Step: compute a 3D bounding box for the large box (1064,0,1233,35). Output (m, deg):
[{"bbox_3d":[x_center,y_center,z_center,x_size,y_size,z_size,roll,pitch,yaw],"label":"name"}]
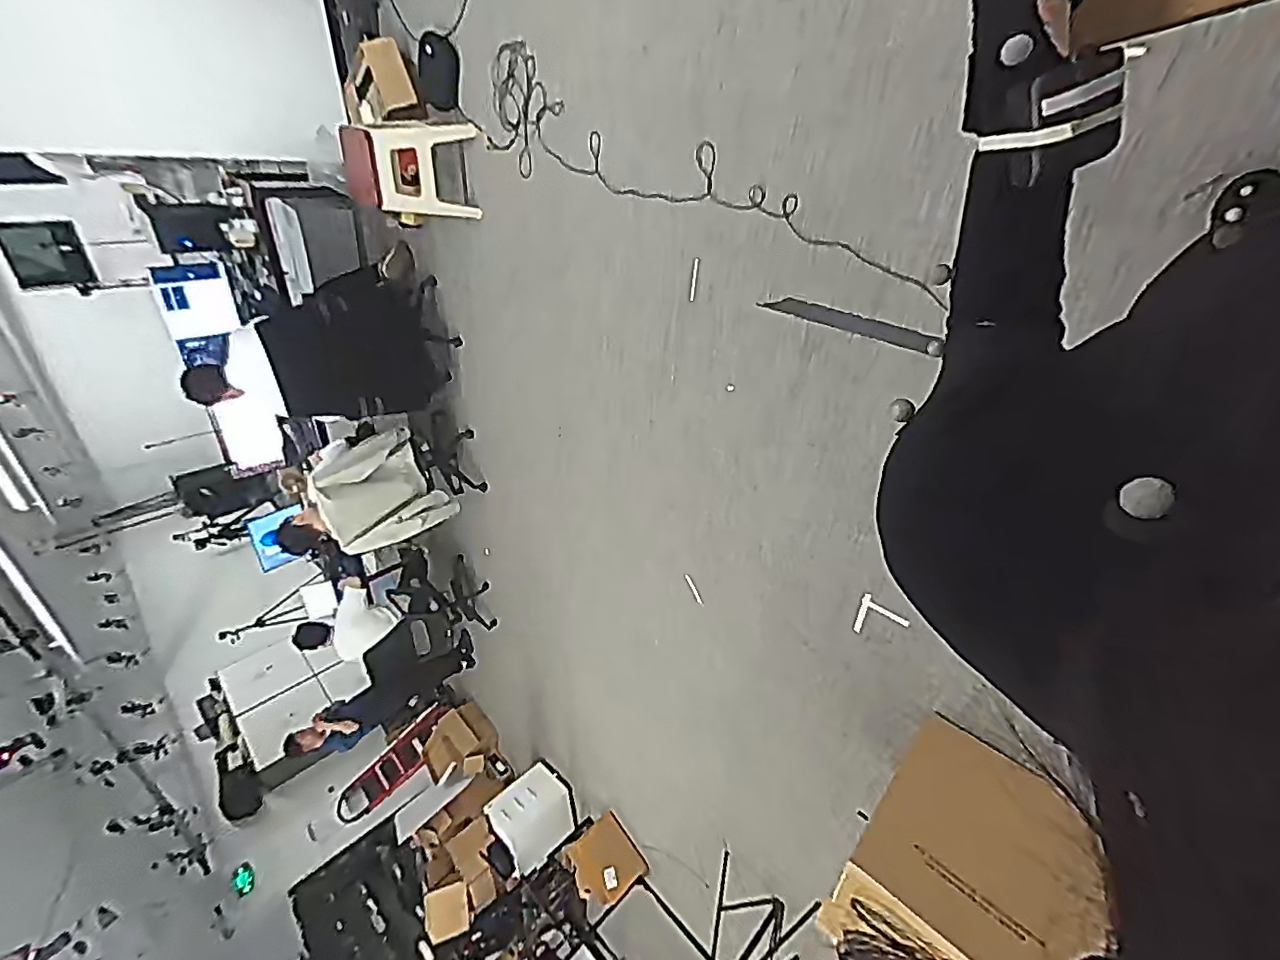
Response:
[{"bbox_3d":[0.468,-0.458,0.225,0.408,0.320,0.320,14,130,45],"label":"large box"}]
